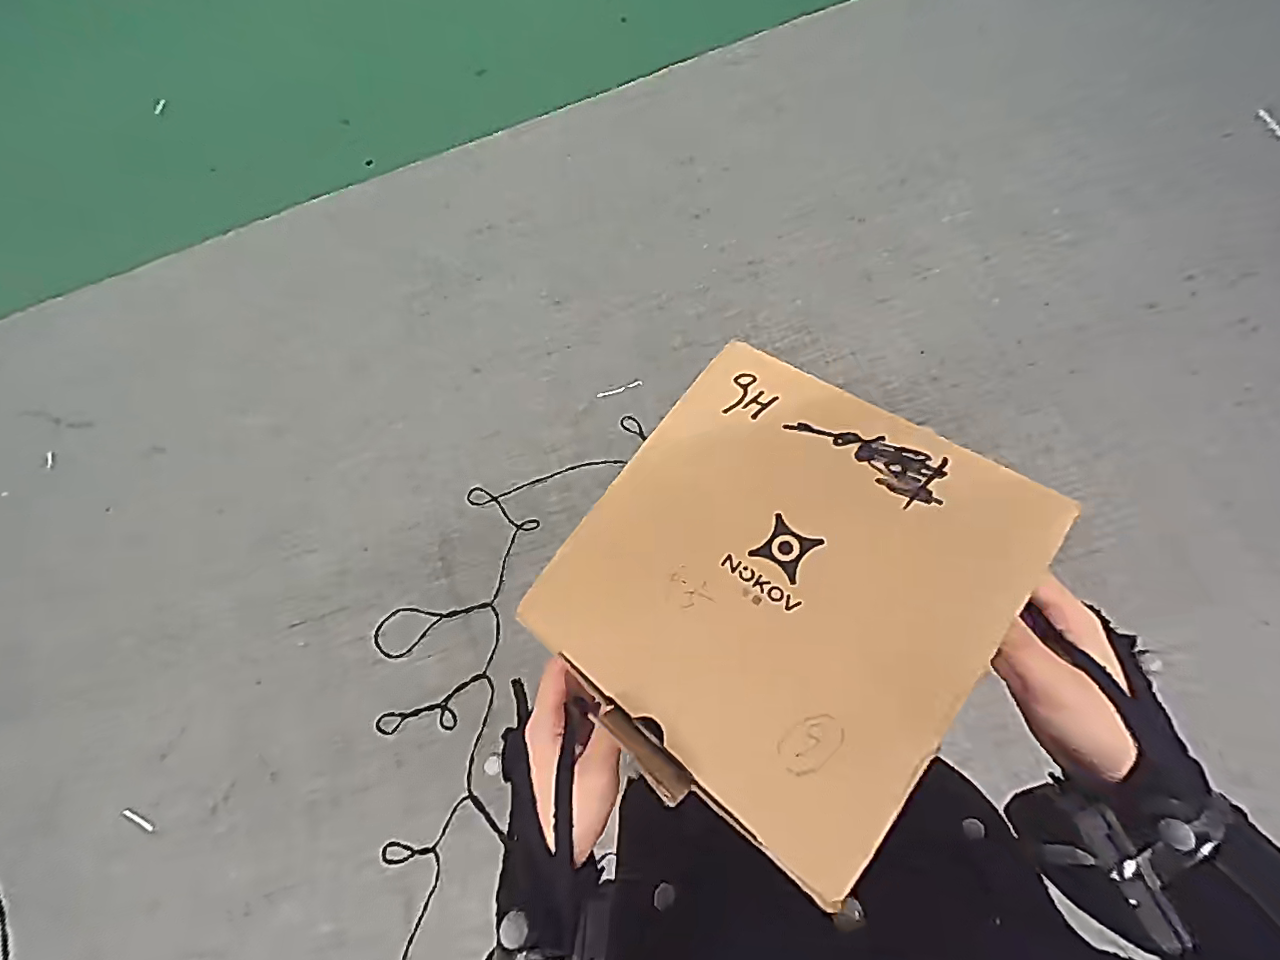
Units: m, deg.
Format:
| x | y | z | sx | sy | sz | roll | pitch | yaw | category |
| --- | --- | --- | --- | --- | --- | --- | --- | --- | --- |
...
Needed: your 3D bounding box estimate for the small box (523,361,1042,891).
| x | y | z | sx | sy | sz | roll | pitch | yaw | category |
| --- | --- | --- | --- | --- | --- | --- | --- | --- | --- |
| 0.074 | 0.073 | 0.311 | 0.168 | 0.176 | 0.179 | 33 | 79 | 25 | small box |
